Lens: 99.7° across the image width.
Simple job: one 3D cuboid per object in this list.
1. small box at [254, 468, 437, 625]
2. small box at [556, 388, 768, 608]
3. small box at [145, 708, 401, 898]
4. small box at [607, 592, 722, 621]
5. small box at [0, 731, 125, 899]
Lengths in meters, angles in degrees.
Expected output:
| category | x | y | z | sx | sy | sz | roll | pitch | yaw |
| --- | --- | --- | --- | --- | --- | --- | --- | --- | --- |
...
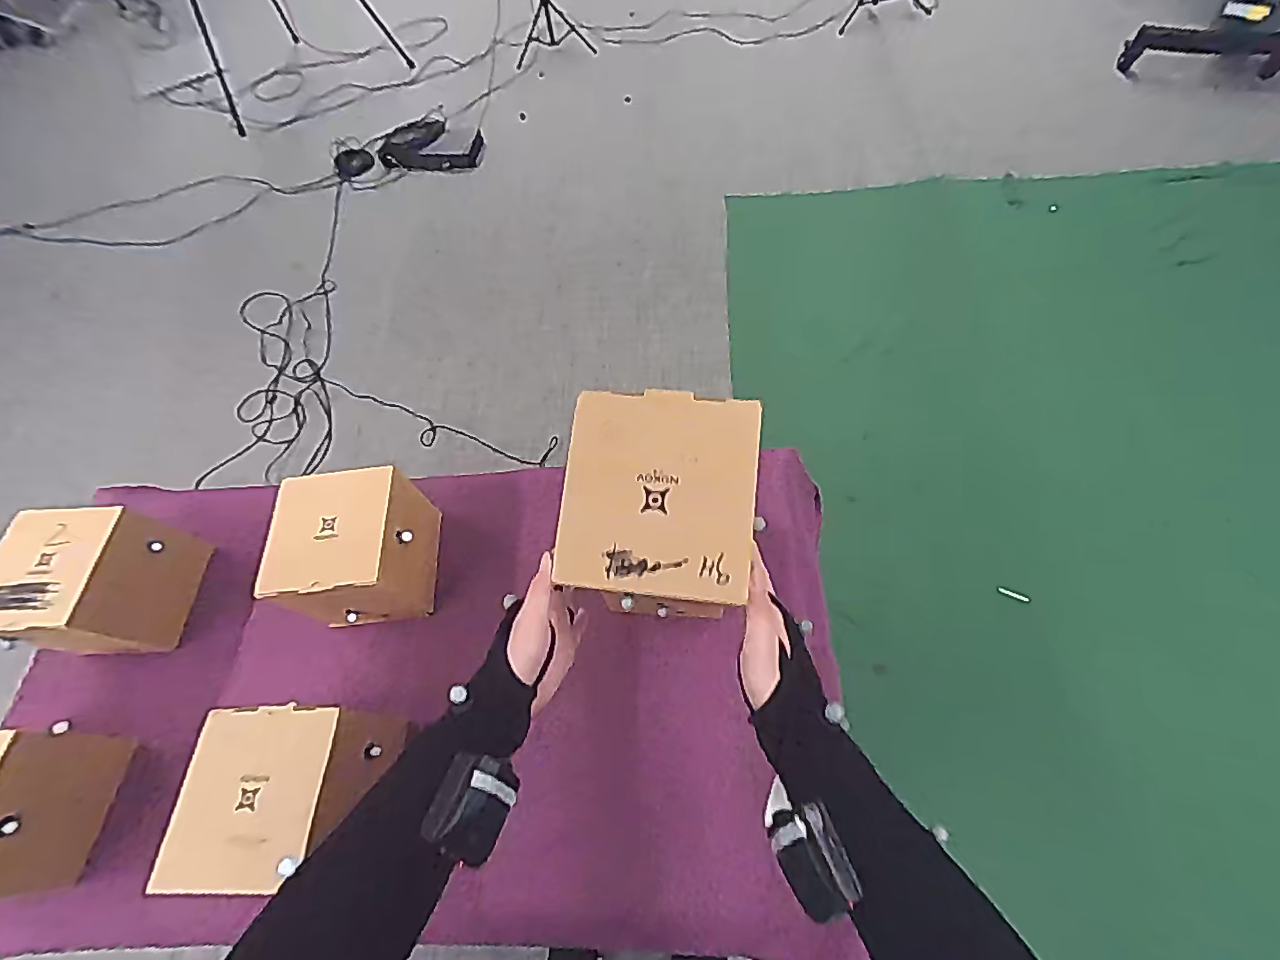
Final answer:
| category | x | y | z | sx | sy | sz | roll | pitch | yaw |
| --- | --- | --- | --- | --- | --- | --- | --- | --- | --- |
| small box | -0.414 | 0.103 | 0.797 | 0.168 | 0.176 | 0.179 | -6 | 63 | 1 |
| small box | 0.030 | 0.027 | 0.538 | 0.168 | 0.176 | 0.179 | 5 | 76 | 9 |
| small box | -0.413 | 0.378 | 0.650 | 0.168 | 0.176 | 0.179 | -2 | 61 | 5 |
| small box | 0.038 | 0.086 | 0.762 | 0.168 | 0.176 | 0.179 | 2 | 63 | 8 |
| small box | -0.811 | 0.409 | 0.667 | 0.168 | 0.176 | 0.179 | 0 | 60 | 5 |
